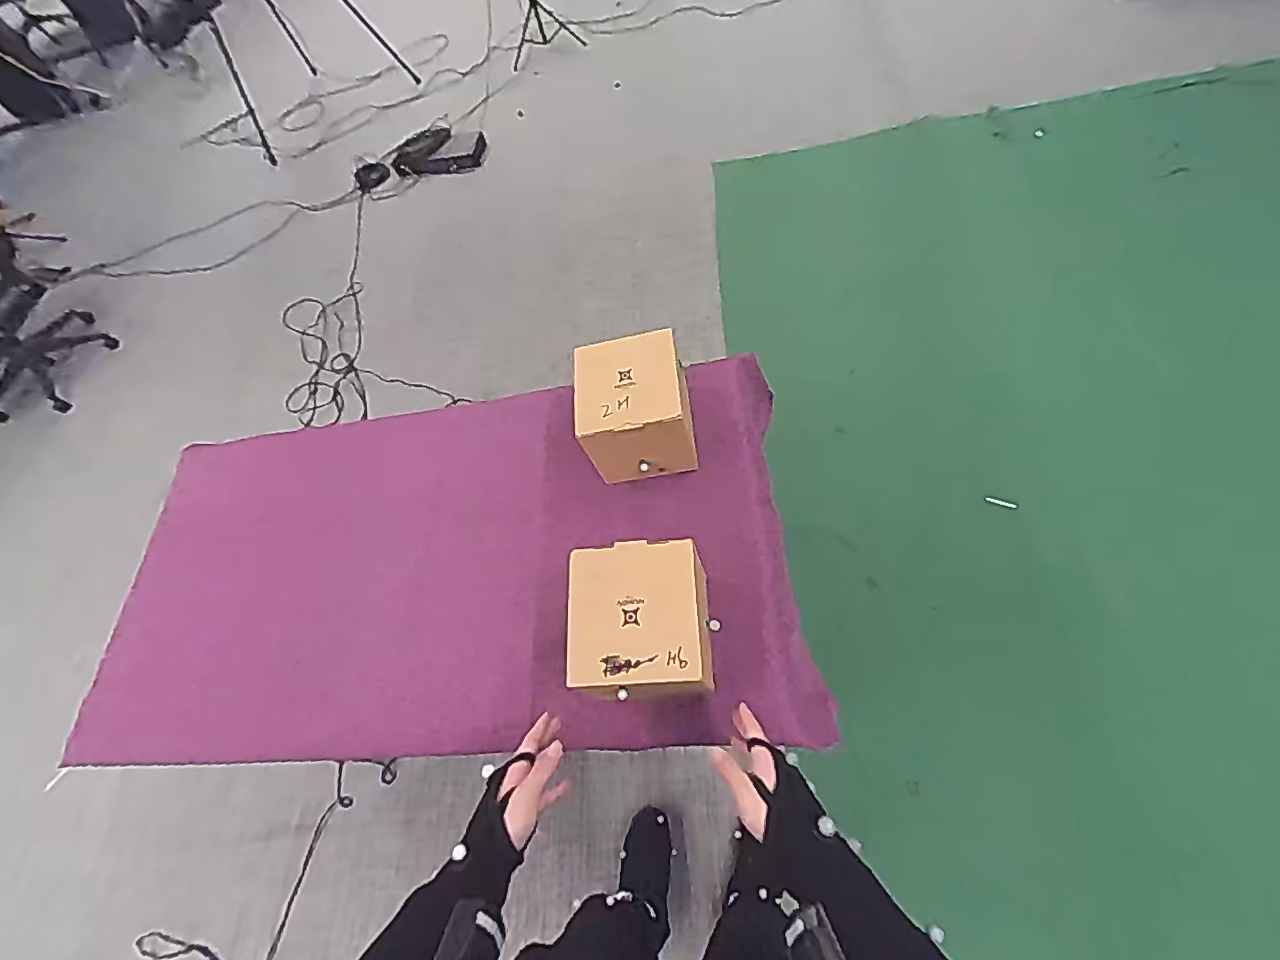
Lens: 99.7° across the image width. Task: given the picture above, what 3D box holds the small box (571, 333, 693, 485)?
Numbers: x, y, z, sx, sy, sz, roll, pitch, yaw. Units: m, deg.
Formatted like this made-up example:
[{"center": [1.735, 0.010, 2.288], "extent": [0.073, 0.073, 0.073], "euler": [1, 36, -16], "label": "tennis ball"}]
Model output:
[{"center": [-0.010, -0.113, 0.912], "extent": [0.168, 0.176, 0.179], "euler": [-10, 63, 12], "label": "small box"}]

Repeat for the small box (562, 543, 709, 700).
[{"center": [0.001, 0.202, 0.749], "extent": [0.168, 0.176, 0.179], "euler": [-7, 63, 11], "label": "small box"}]
